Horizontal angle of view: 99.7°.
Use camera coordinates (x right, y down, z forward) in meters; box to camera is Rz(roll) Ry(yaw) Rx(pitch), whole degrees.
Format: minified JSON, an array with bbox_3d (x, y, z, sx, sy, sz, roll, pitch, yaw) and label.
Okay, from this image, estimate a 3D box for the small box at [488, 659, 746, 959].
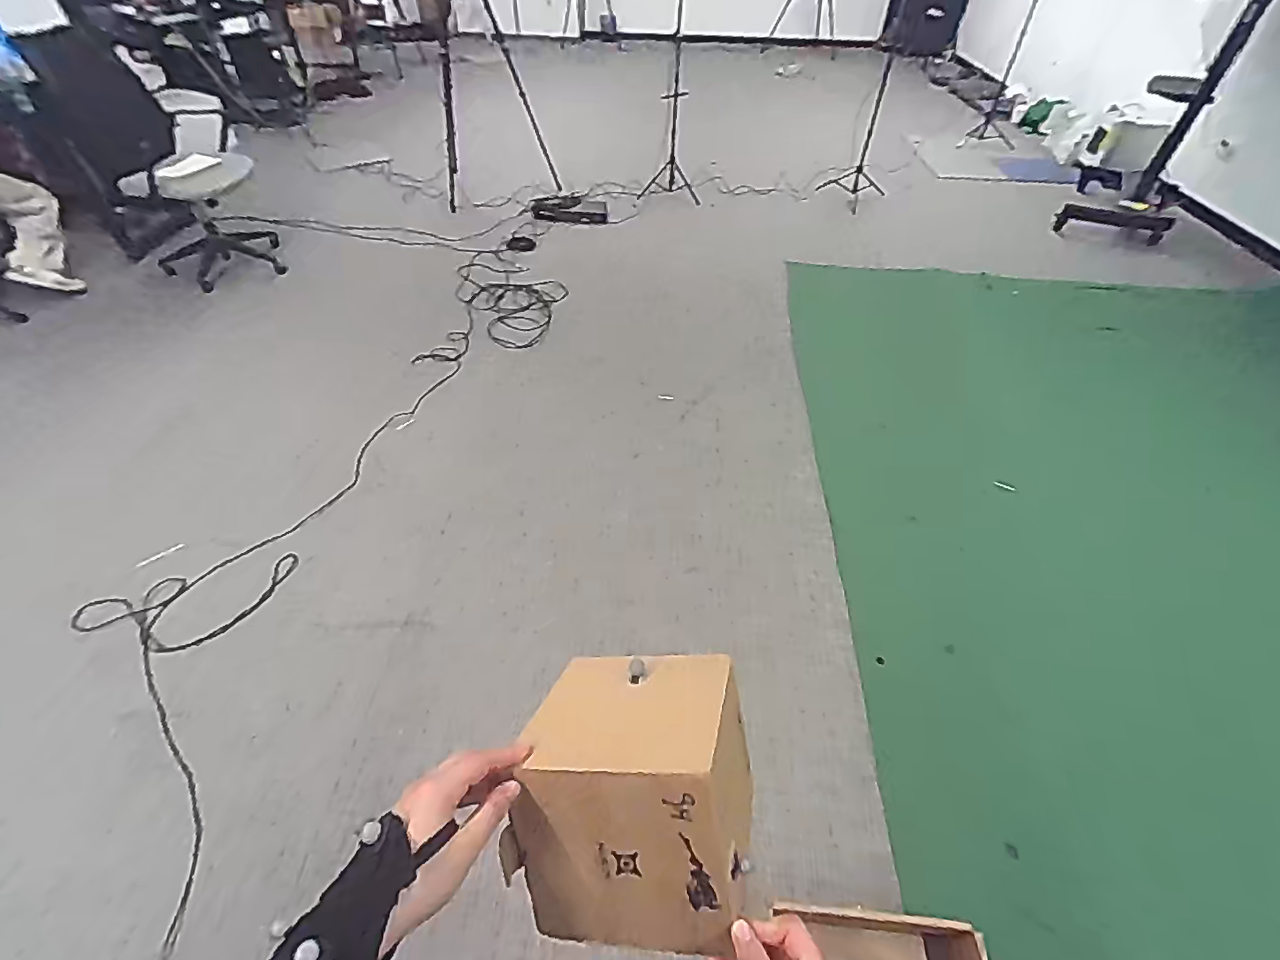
[{"bbox_3d":[-0.006,0.279,0.493,0.179,0.168,0.176,-7,10,17],"label":"small box"}]
